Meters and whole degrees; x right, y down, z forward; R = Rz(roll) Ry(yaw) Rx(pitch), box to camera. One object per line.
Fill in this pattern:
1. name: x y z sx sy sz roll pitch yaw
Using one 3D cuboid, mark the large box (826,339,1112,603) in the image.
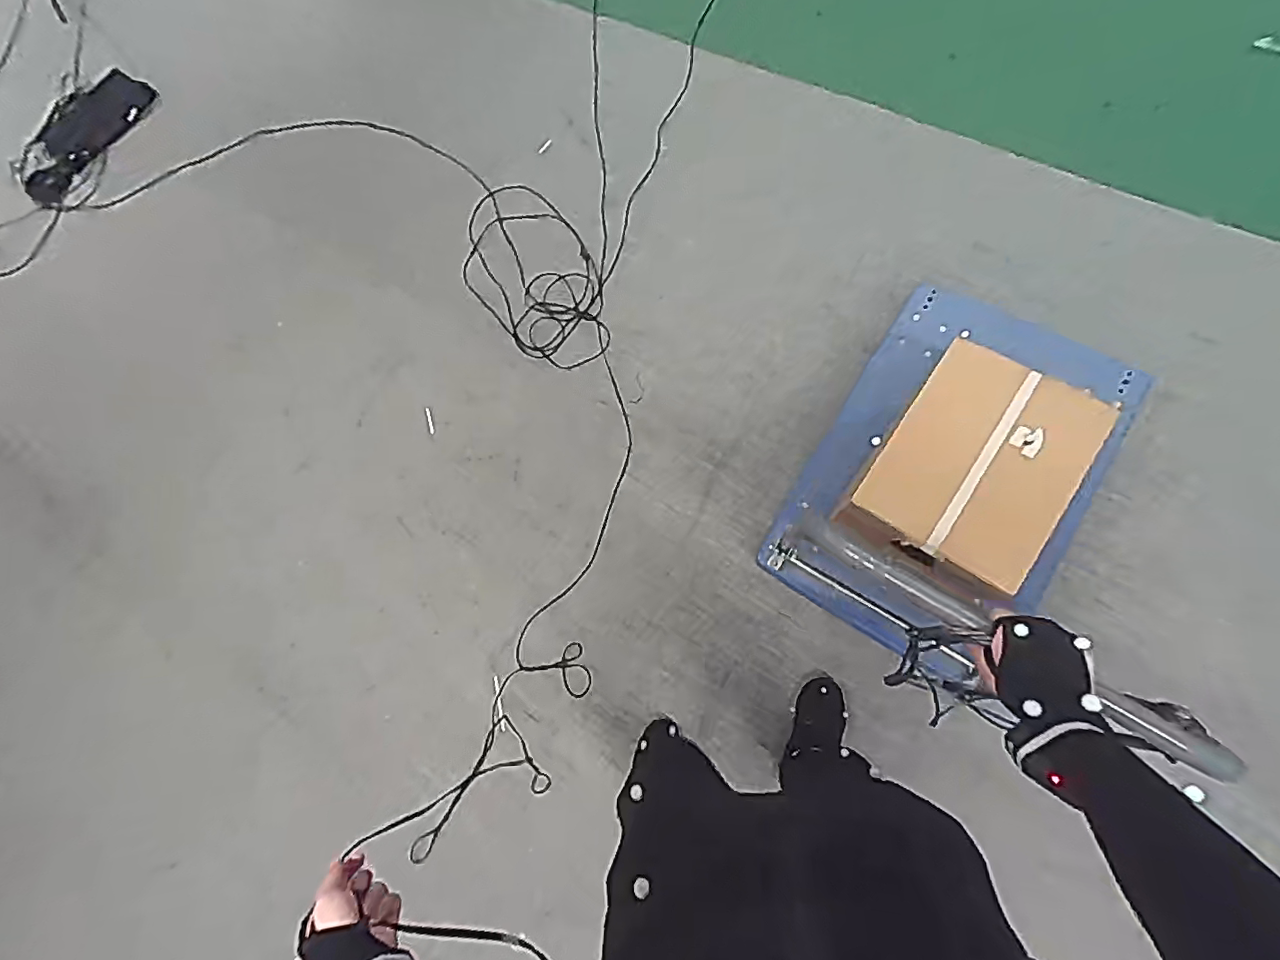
1. large box: 0.646 0.001 1.133 0.320 0.320 0.408 33 82 15
